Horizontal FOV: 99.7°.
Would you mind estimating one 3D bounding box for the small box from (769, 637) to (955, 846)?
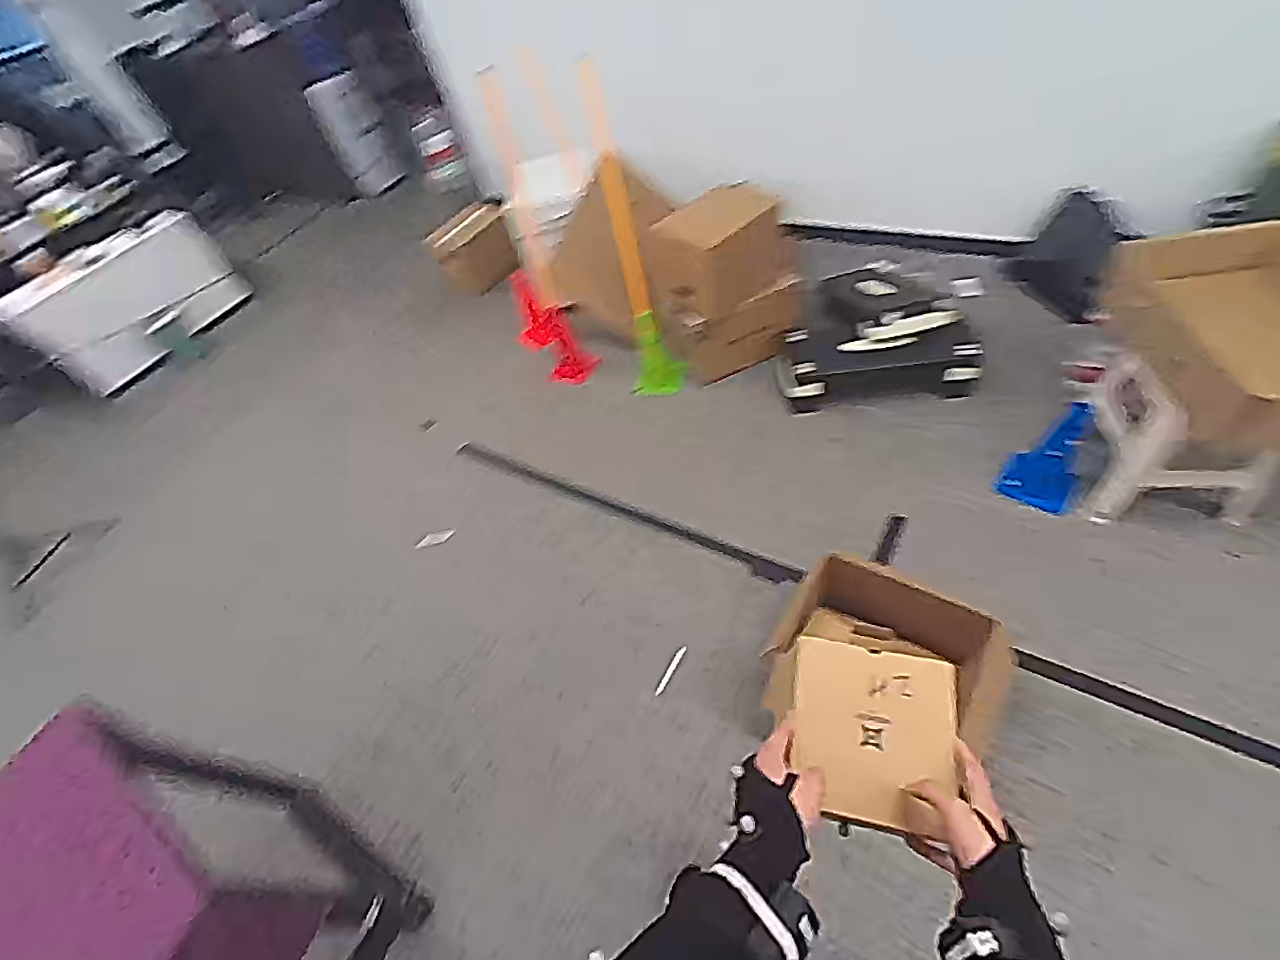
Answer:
[{"bbox_3d":[0.252,0.310,0.646,0.168,0.176,0.179,9,59,10],"label":"small box"}]
